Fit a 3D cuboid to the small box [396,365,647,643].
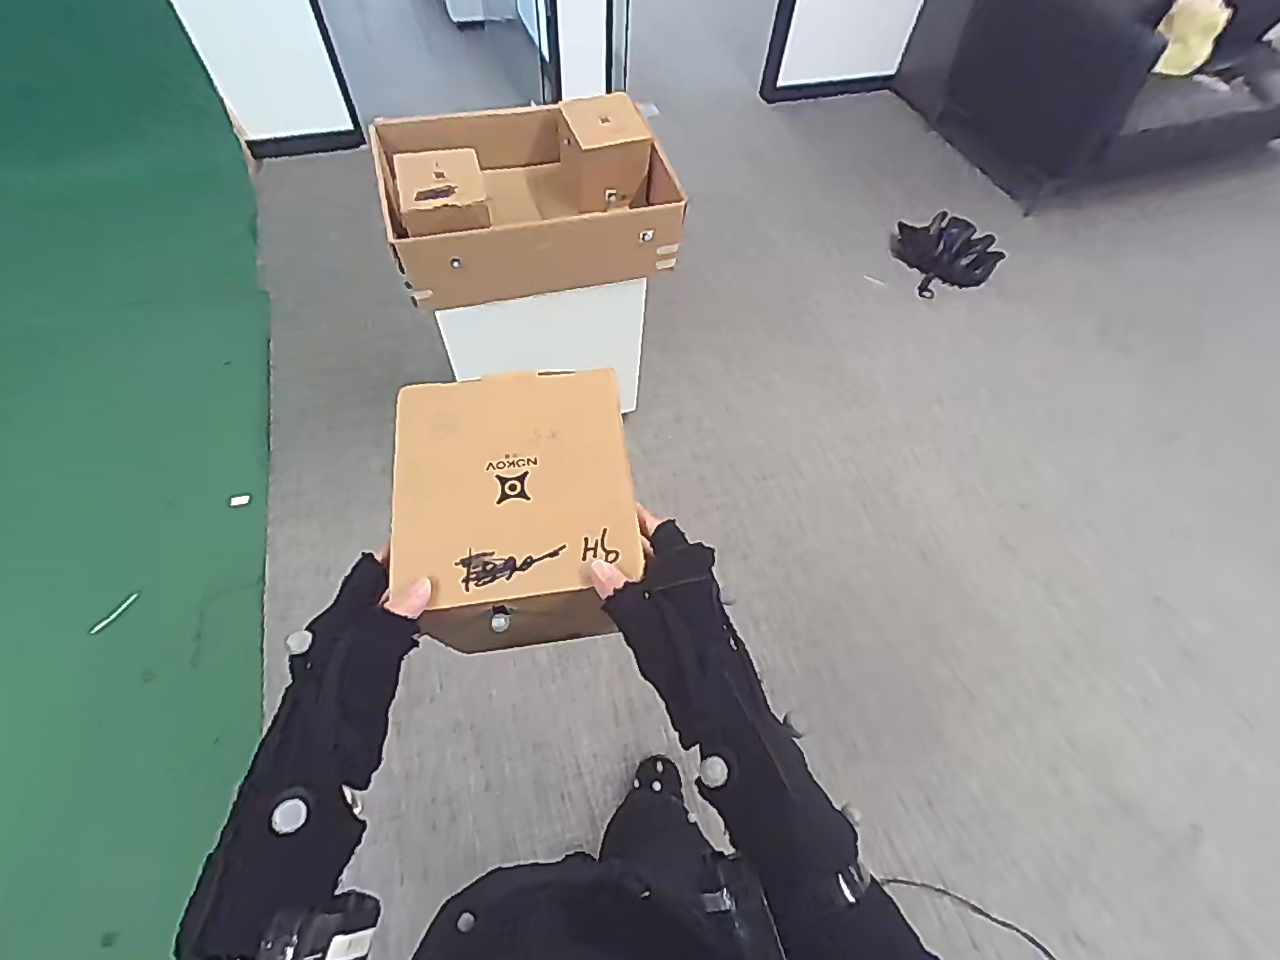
[{"bbox_3d":[-0.089,0.028,0.461,0.168,0.176,0.179,-7,65,-4],"label":"small box"}]
